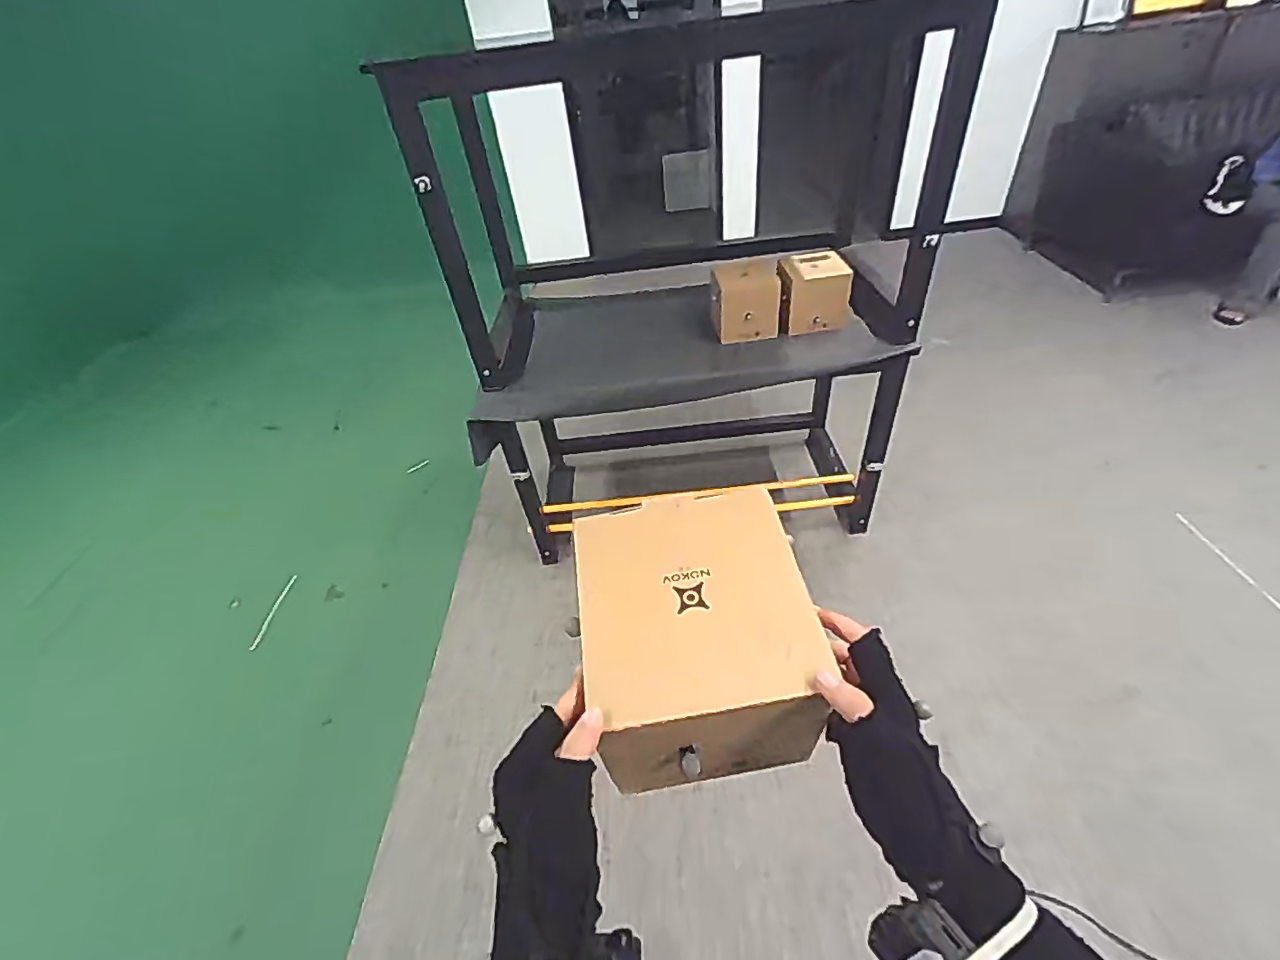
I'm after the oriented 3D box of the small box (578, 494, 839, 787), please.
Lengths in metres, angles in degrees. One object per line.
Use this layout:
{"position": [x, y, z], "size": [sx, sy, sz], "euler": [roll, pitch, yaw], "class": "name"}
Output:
{"position": [0.048, 0.142, 0.461], "size": [0.168, 0.176, 0.179], "euler": [-10, 47, -2], "class": "small box"}
